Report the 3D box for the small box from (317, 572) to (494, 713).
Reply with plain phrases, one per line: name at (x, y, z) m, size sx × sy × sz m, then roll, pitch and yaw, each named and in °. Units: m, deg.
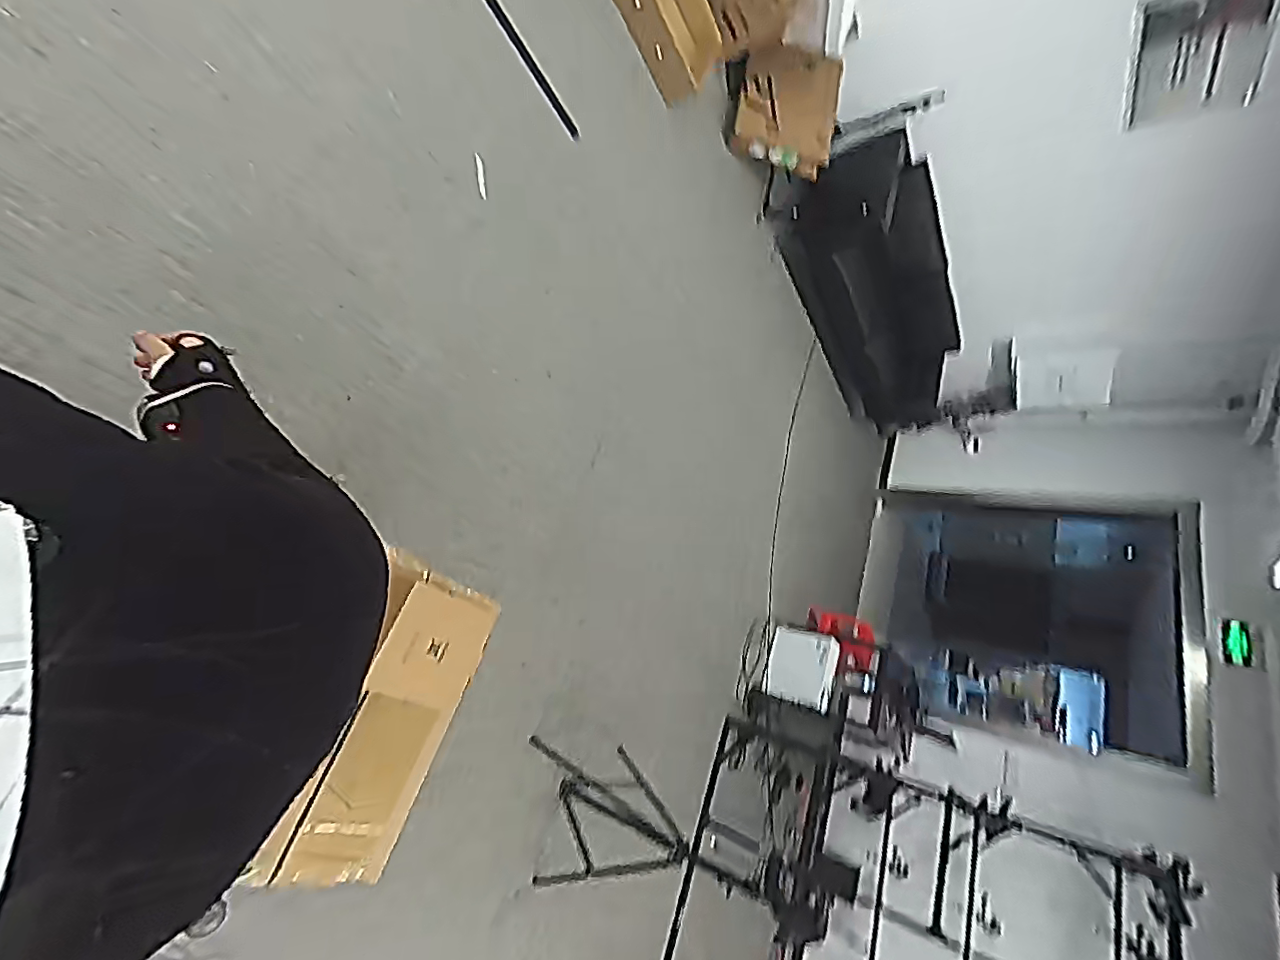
small box at (-0.385, 0.262, 0.895) m, size 0.179 × 0.176 × 0.168 m, roll 42°, pitch 59°, yaw -41°
